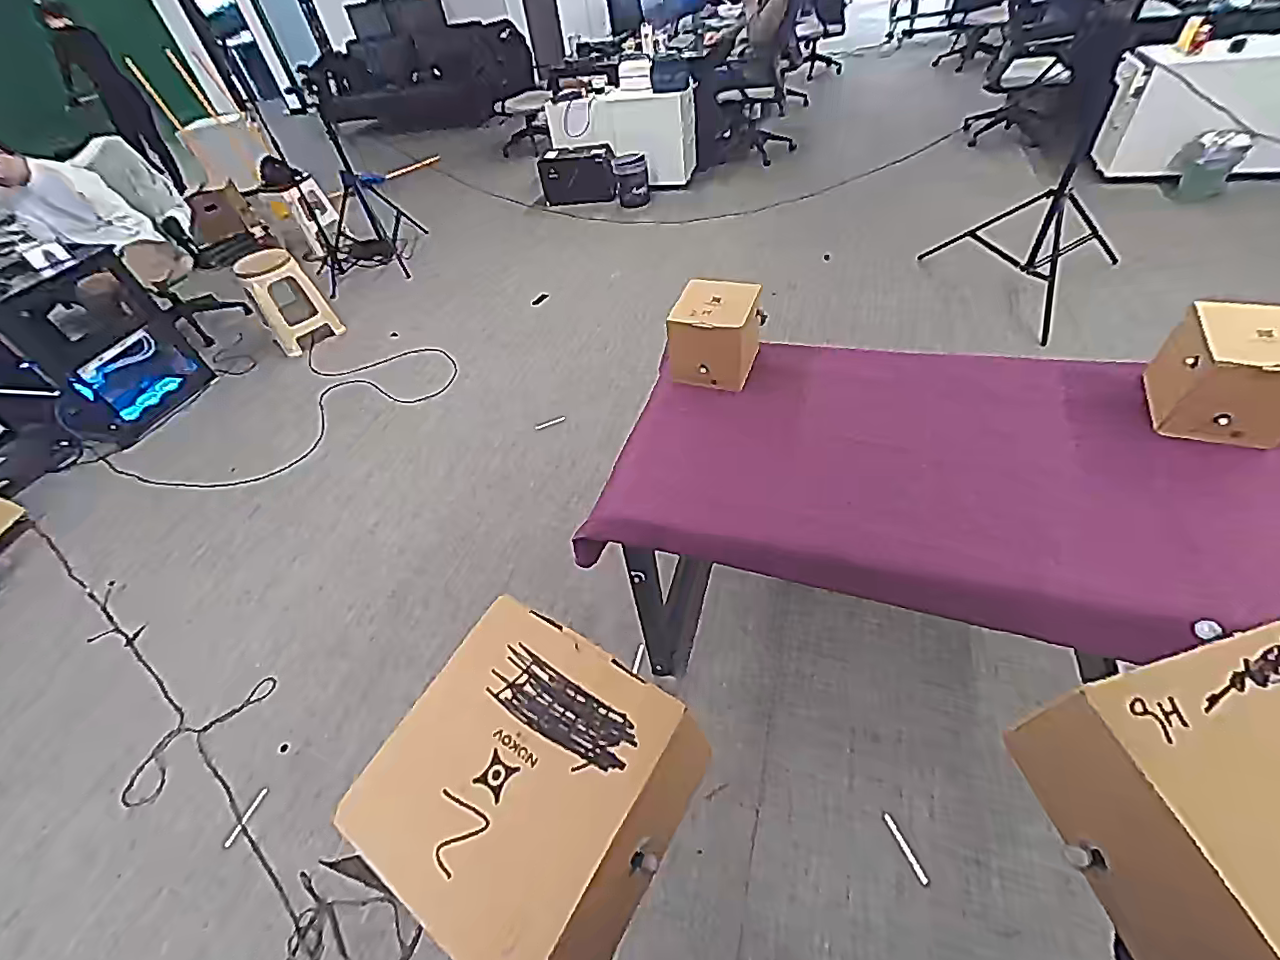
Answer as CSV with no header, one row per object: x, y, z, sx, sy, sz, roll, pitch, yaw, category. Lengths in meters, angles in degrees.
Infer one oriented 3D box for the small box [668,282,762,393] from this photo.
0.172,-0.324,1.225,0.168,0.176,0.179,12,52,19,small box

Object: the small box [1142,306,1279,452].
1.034,-0.179,0.952,0.168,0.176,0.179,12,54,20,small box

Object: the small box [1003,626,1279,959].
0.378,0.211,0.339,0.168,0.176,0.179,-19,55,3,small box
